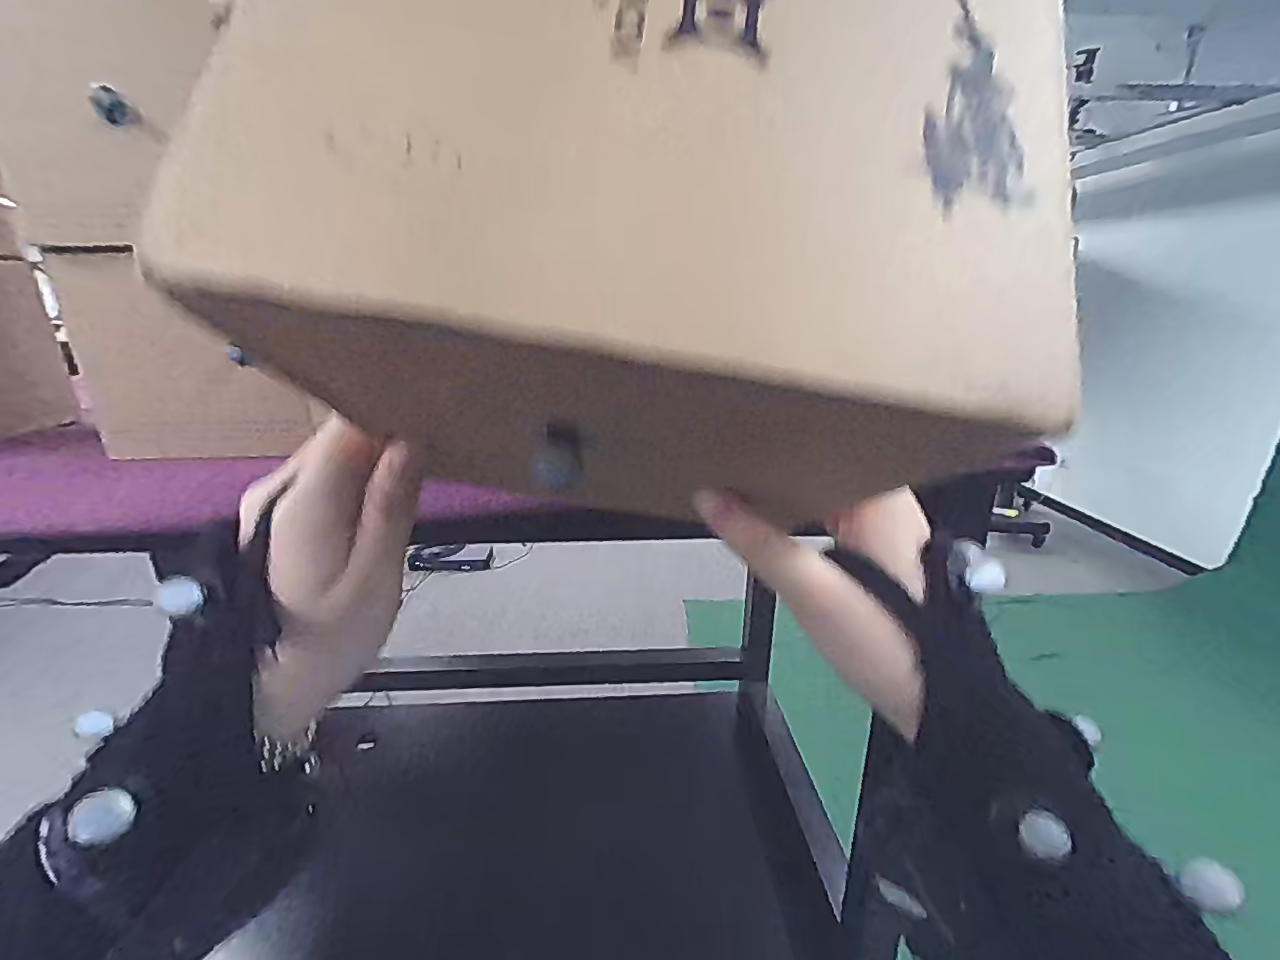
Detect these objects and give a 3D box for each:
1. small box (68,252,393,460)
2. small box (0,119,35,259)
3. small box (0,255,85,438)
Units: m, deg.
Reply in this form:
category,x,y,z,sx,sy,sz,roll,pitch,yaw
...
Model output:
category,x,y,z,sx,sy,sz,roll,pitch,yaw
small box,-0.358,-0.120,0.519,0.179,0.176,0.168,-2,17,-4
small box,-0.682,-0.272,0.440,0.179,0.176,0.168,-1,19,-7
small box,-0.679,-0.118,0.493,0.168,0.176,0.179,0,18,-5
